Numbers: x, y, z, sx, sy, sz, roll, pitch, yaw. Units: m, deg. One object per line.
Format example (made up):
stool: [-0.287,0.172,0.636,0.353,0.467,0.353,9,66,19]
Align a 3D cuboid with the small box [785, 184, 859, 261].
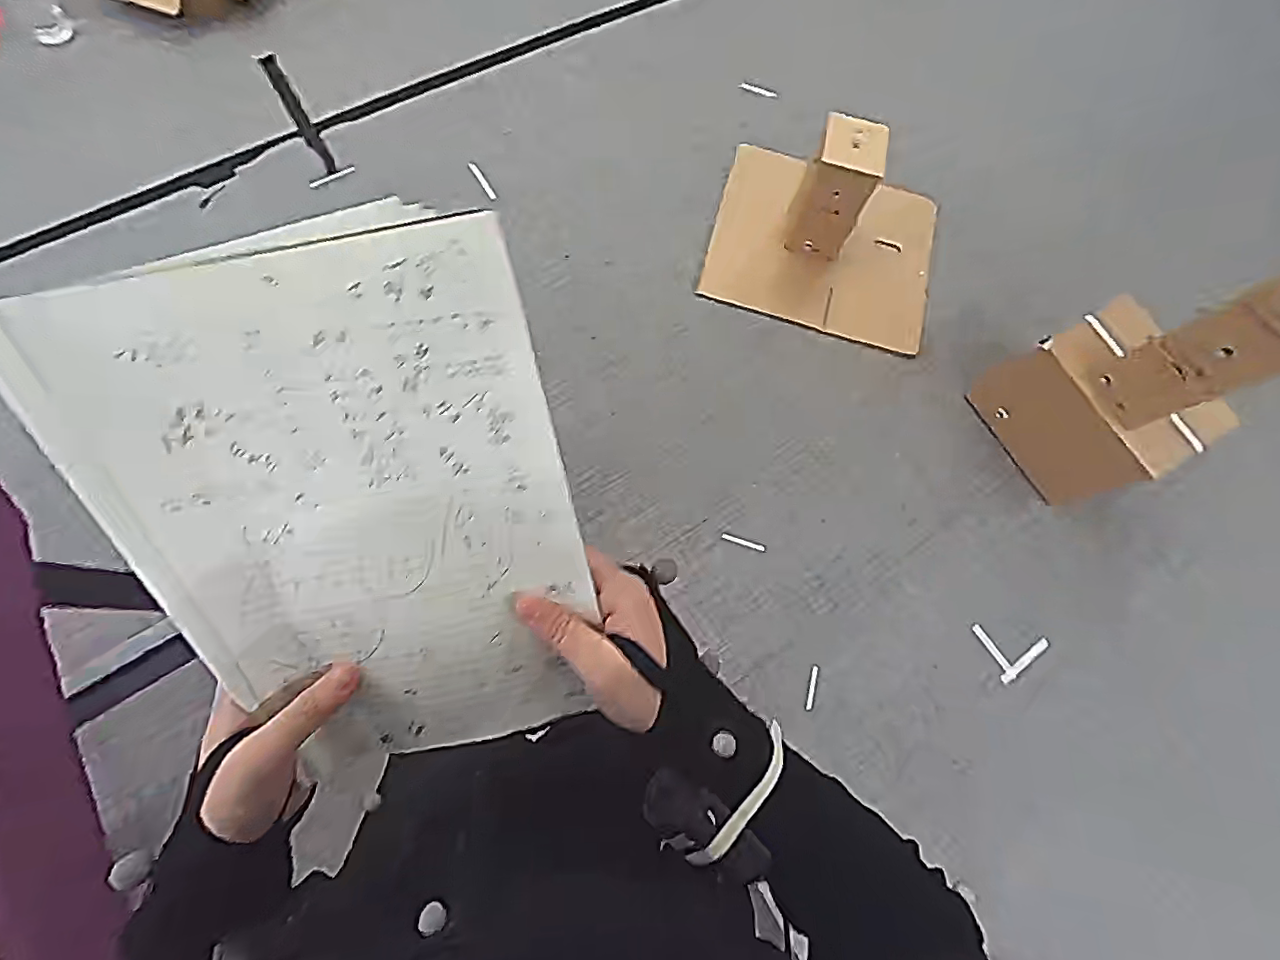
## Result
small box: [0.550,-0.804,1.638,0.168,0.176,0.179,12,75,-1]

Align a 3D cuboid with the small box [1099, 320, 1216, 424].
small box: [1.201,-0.251,1.222,0.179,0.176,0.168,-26,78,-11]

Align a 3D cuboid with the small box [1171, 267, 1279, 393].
small box: [1.220,-0.299,1.066,0.179,0.176,0.168,-29,79,-10]

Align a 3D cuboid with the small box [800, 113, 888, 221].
small box: [0.551,-0.847,1.478,0.168,0.176,0.179,14,74,-2]
